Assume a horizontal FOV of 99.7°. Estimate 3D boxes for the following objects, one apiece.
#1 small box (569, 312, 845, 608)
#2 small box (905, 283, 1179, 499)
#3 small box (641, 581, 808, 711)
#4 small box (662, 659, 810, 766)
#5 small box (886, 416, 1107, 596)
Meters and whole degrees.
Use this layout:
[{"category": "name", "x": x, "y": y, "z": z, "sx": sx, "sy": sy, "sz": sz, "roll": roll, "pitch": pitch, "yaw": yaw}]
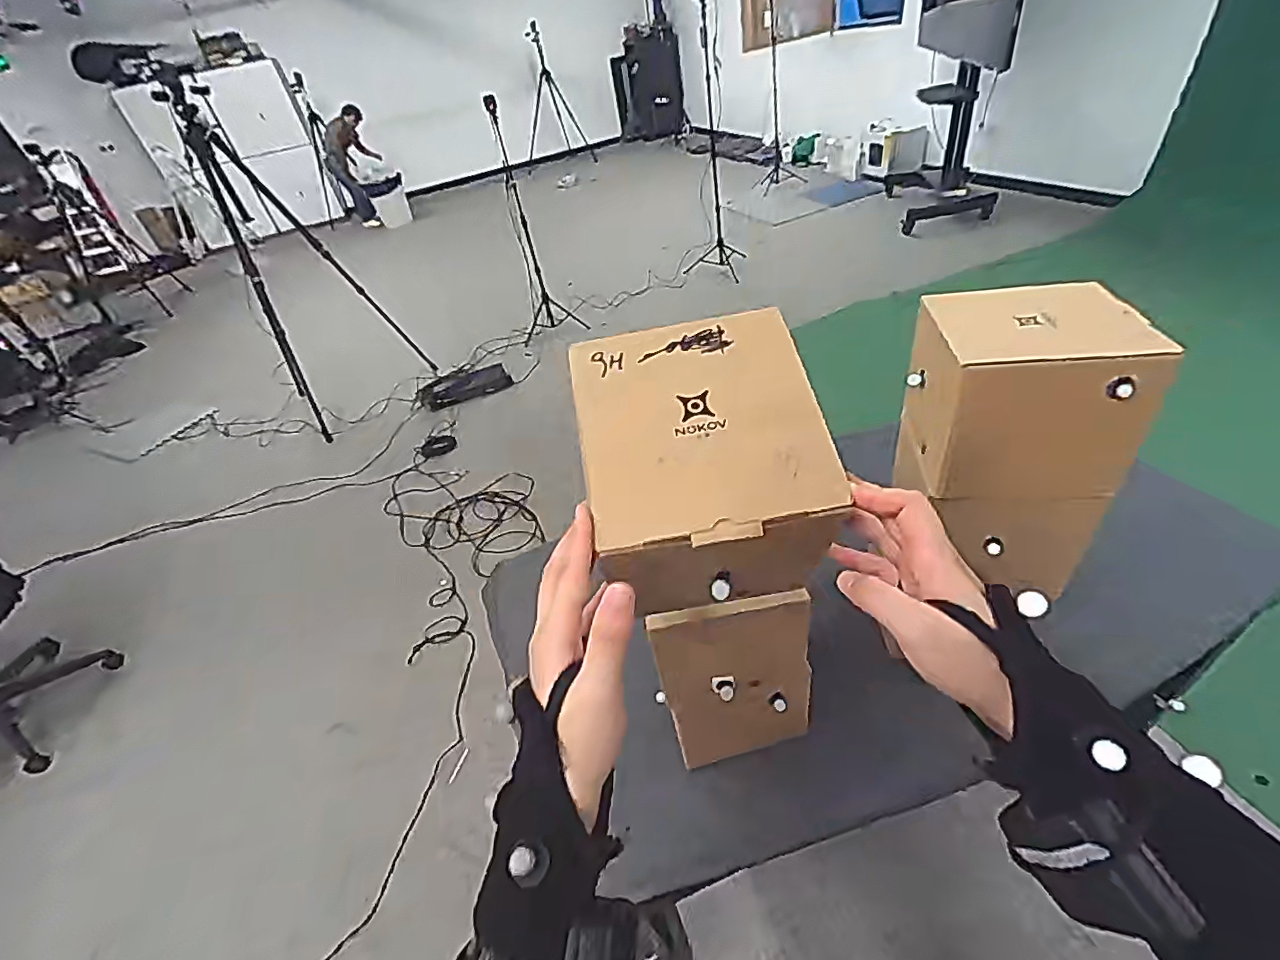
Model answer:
[{"category": "small box", "x": 0.045, "y": -0.003, "z": 0.444, "sx": 0.168, "sy": 0.176, "sz": 0.179, "roll": -10, "pitch": 62, "yaw": 0}, {"category": "small box", "x": 0.396, "y": -0.092, "z": 0.580, "sx": 0.179, "sy": 0.176, "sz": 0.168, "roll": -1, "pitch": 40, "yaw": 13}, {"category": "small box", "x": 0.089, "y": 0.142, "z": 0.644, "sx": 0.168, "sy": 0.176, "sz": 0.179, "roll": -12, "pitch": 40, "yaw": 2}, {"category": "small box", "x": 0.117, "y": 0.262, "z": 0.750, "sx": 0.179, "sy": 0.176, "sz": 0.168, "roll": -15, "pitch": 39, "yaw": -3}, {"category": "small box", "x": 0.425, "y": 0.030, "z": 0.683, "sx": 0.179, "sy": 0.176, "sz": 0.168, "roll": 0, "pitch": 41, "yaw": 15}]
